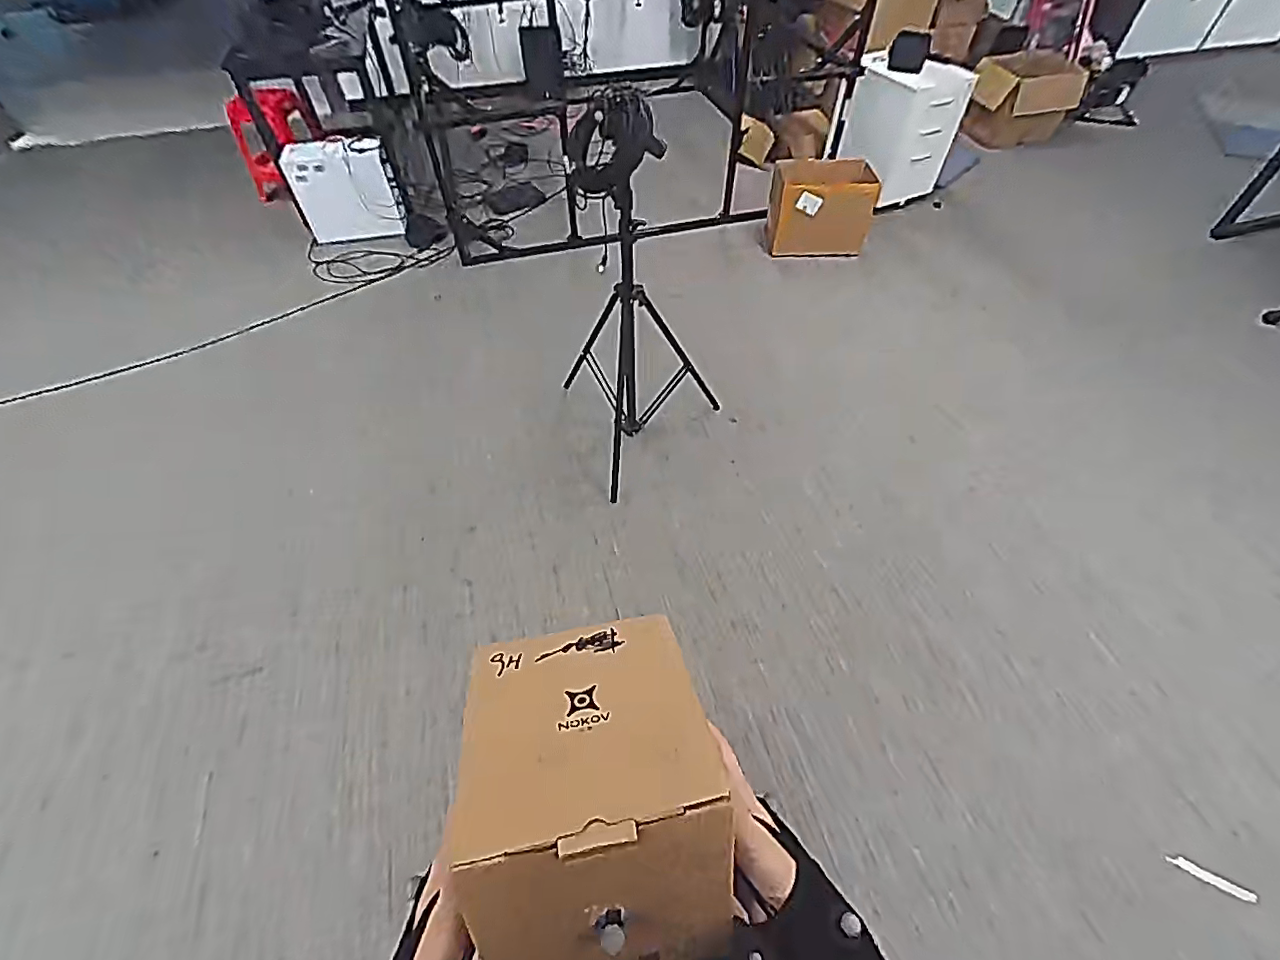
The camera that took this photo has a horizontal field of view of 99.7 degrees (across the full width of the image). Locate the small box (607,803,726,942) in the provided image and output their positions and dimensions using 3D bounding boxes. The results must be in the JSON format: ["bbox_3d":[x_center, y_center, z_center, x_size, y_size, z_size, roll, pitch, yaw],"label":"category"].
[{"bbox_3d":[0.045,0.722,0.998,0.179,0.176,0.168,-12,54,-8],"label":"small box"}]
